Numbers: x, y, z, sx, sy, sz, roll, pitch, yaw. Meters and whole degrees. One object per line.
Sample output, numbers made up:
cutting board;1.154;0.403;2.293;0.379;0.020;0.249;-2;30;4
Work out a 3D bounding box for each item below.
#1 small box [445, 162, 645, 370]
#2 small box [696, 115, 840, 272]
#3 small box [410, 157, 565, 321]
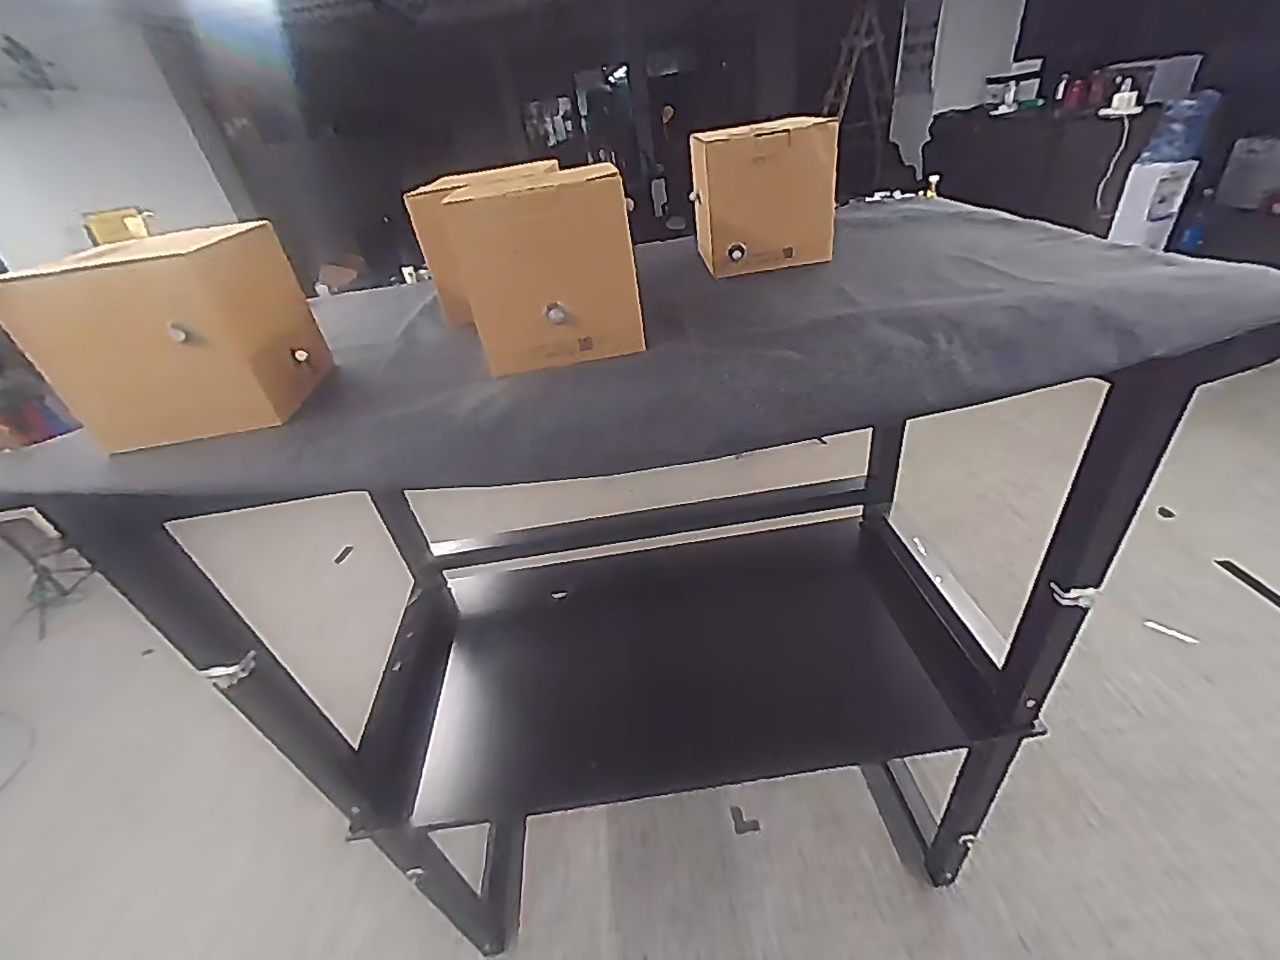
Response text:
small box;-0.090;-0.236;0.591;0.168;0.176;0.179;-10;34;0
small box;0.175;-0.406;0.773;0.168;0.176;0.179;-7;34;3
small box;-0.186;-0.340;0.764;0.179;0.176;0.168;-6;35;5
